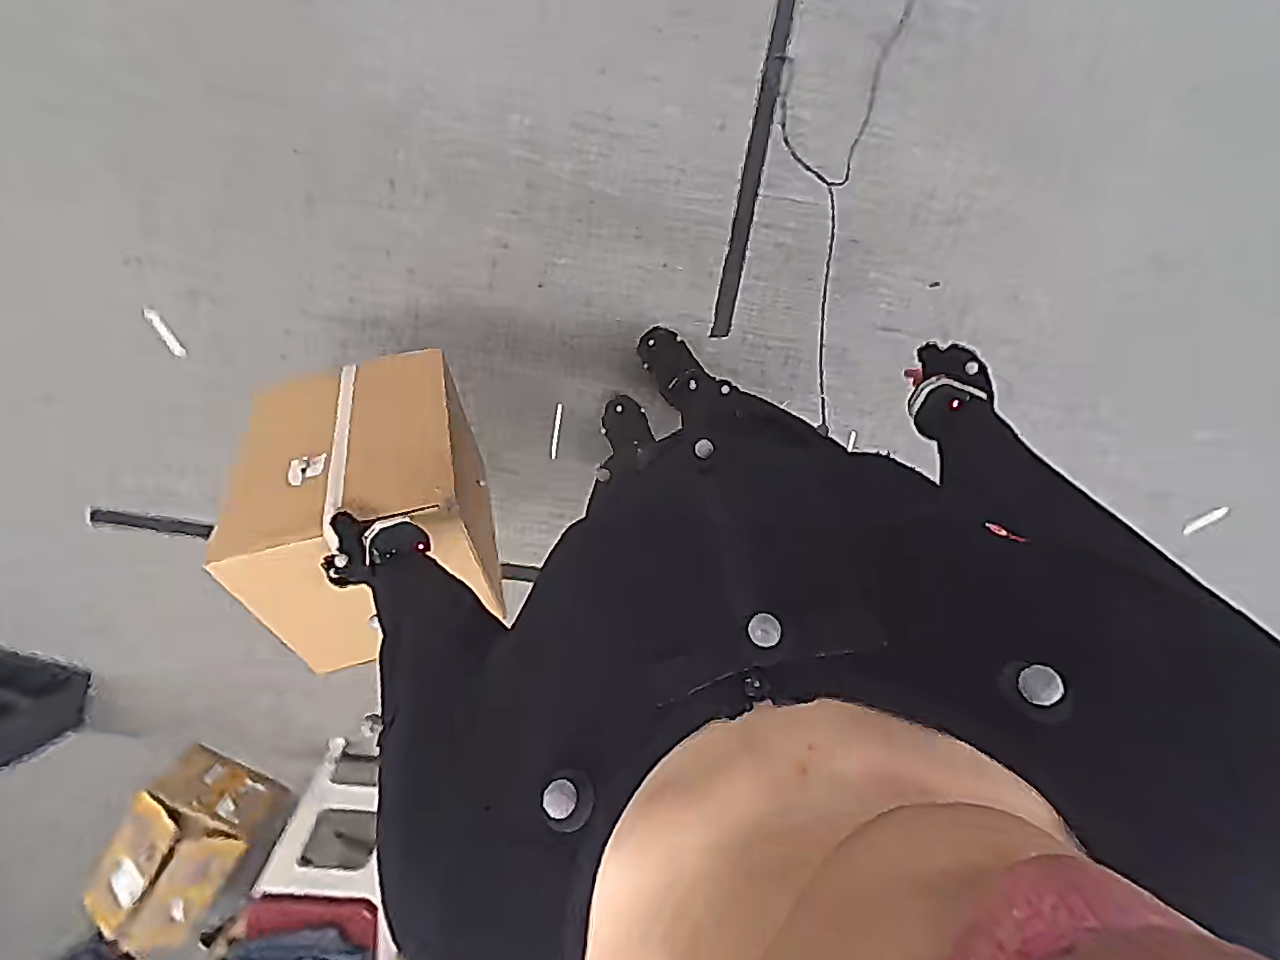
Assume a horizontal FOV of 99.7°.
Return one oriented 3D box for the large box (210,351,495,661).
[{"bbox_3d":[-0.456,0.032,0.943,0.320,0.408,0.320,-13,138,-11],"label":"large box"}]
